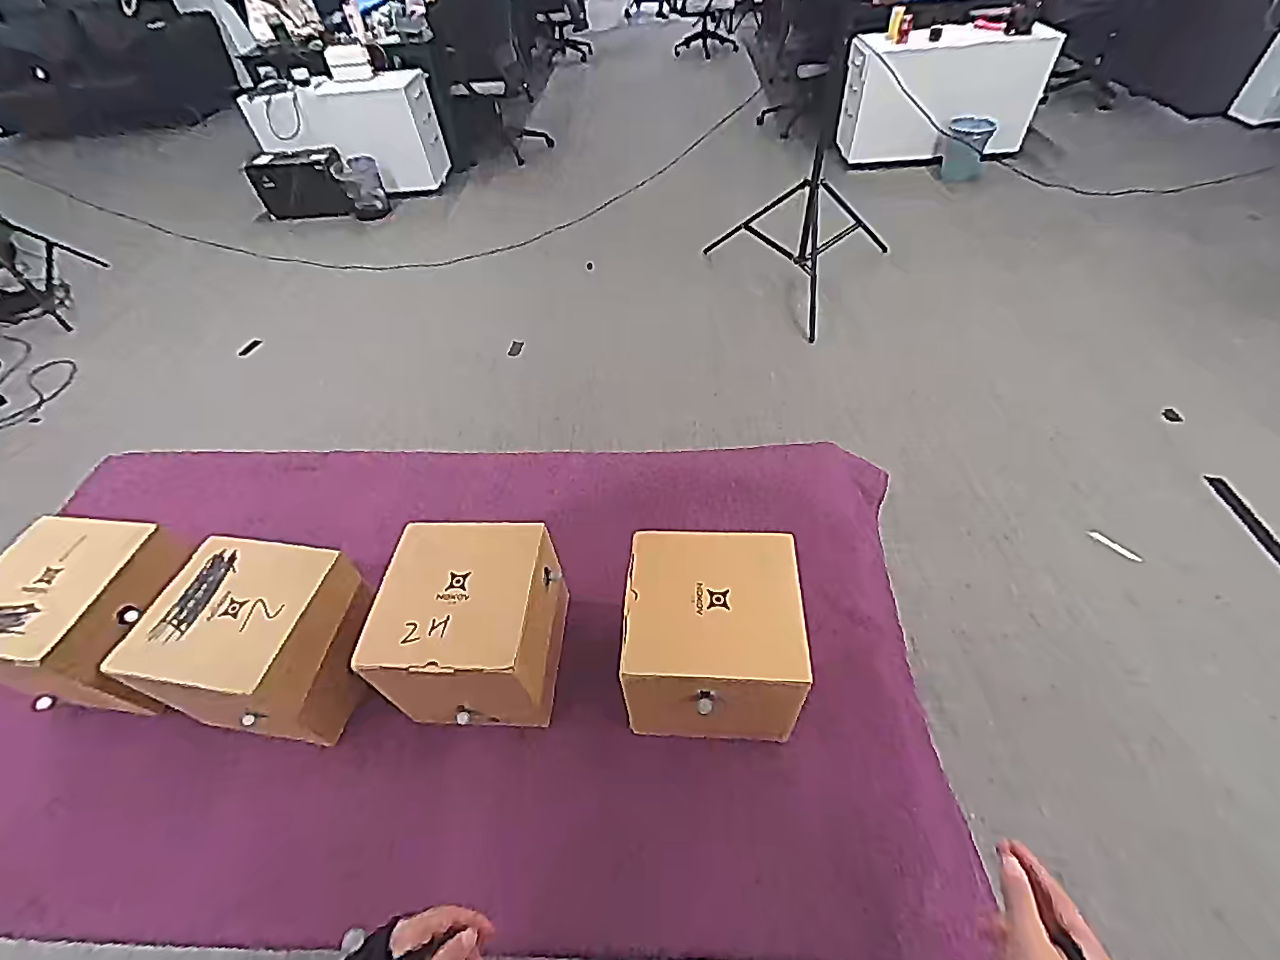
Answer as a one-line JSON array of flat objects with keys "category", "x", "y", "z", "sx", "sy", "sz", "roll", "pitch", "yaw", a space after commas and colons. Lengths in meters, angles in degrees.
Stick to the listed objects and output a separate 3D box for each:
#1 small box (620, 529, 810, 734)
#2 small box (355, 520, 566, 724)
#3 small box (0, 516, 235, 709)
[{"category": "small box", "x": 0.079, "y": 0.171, "z": 0.604, "sx": 0.179, "sy": 0.176, "sz": 0.168, "roll": 0, "pitch": 48, "yaw": 6}, {"category": "small box", "x": -0.188, "y": 0.165, "z": 0.633, "sx": 0.168, "sy": 0.176, "sz": 0.179, "roll": -1, "pitch": 49, "yaw": 5}, {"category": "small box", "x": -0.664, "y": 0.167, "z": 0.672, "sx": 0.168, "sy": 0.176, "sz": 0.179, "roll": 3, "pitch": 50, "yaw": 7}]
